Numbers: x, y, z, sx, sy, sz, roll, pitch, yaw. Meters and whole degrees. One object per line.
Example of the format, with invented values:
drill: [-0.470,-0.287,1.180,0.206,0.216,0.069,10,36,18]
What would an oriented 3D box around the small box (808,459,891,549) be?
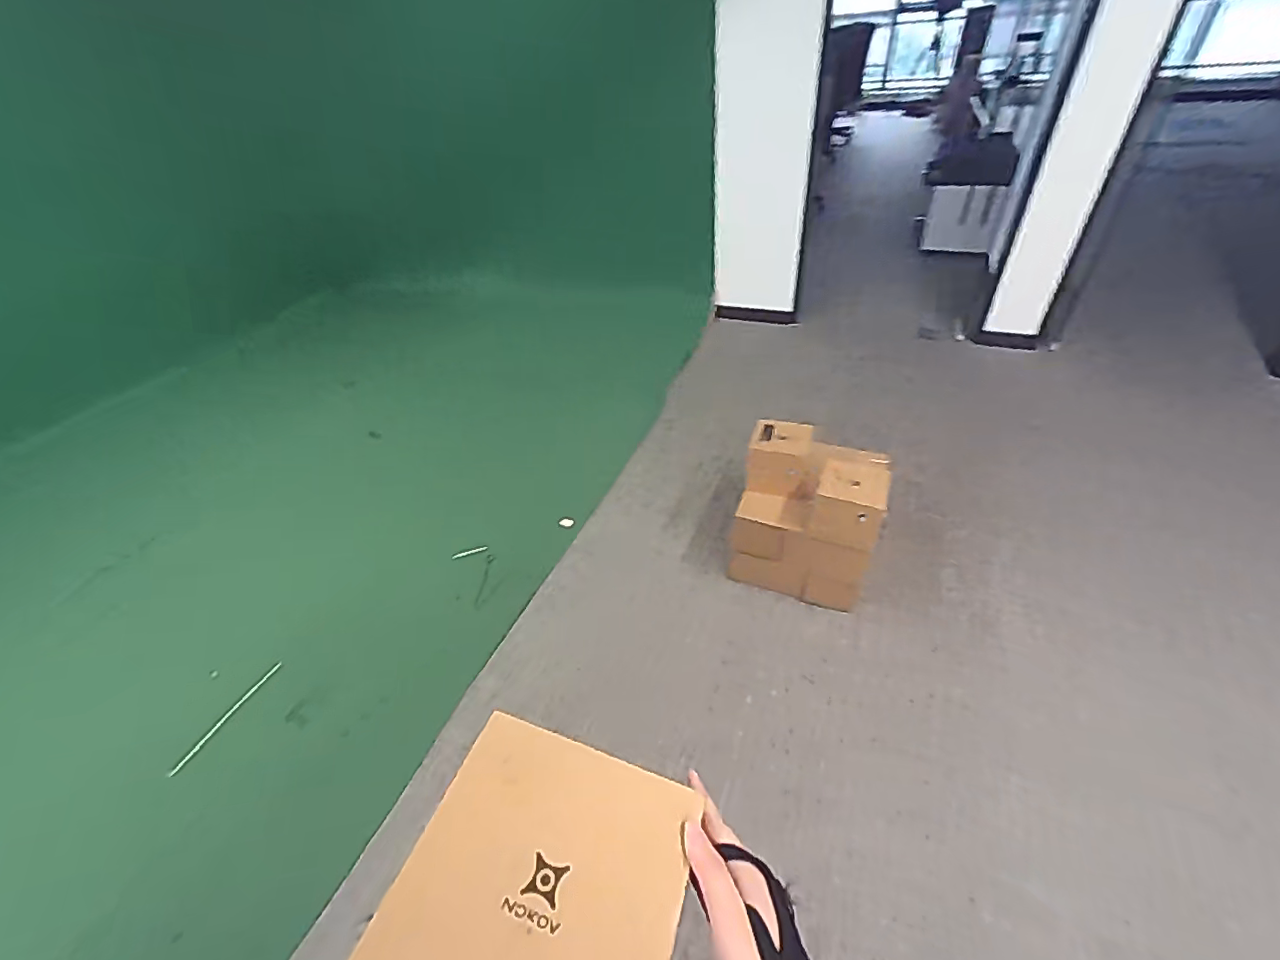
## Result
small box: [0.587,0.070,1.521,0.179,0.176,0.168,14,45,21]
